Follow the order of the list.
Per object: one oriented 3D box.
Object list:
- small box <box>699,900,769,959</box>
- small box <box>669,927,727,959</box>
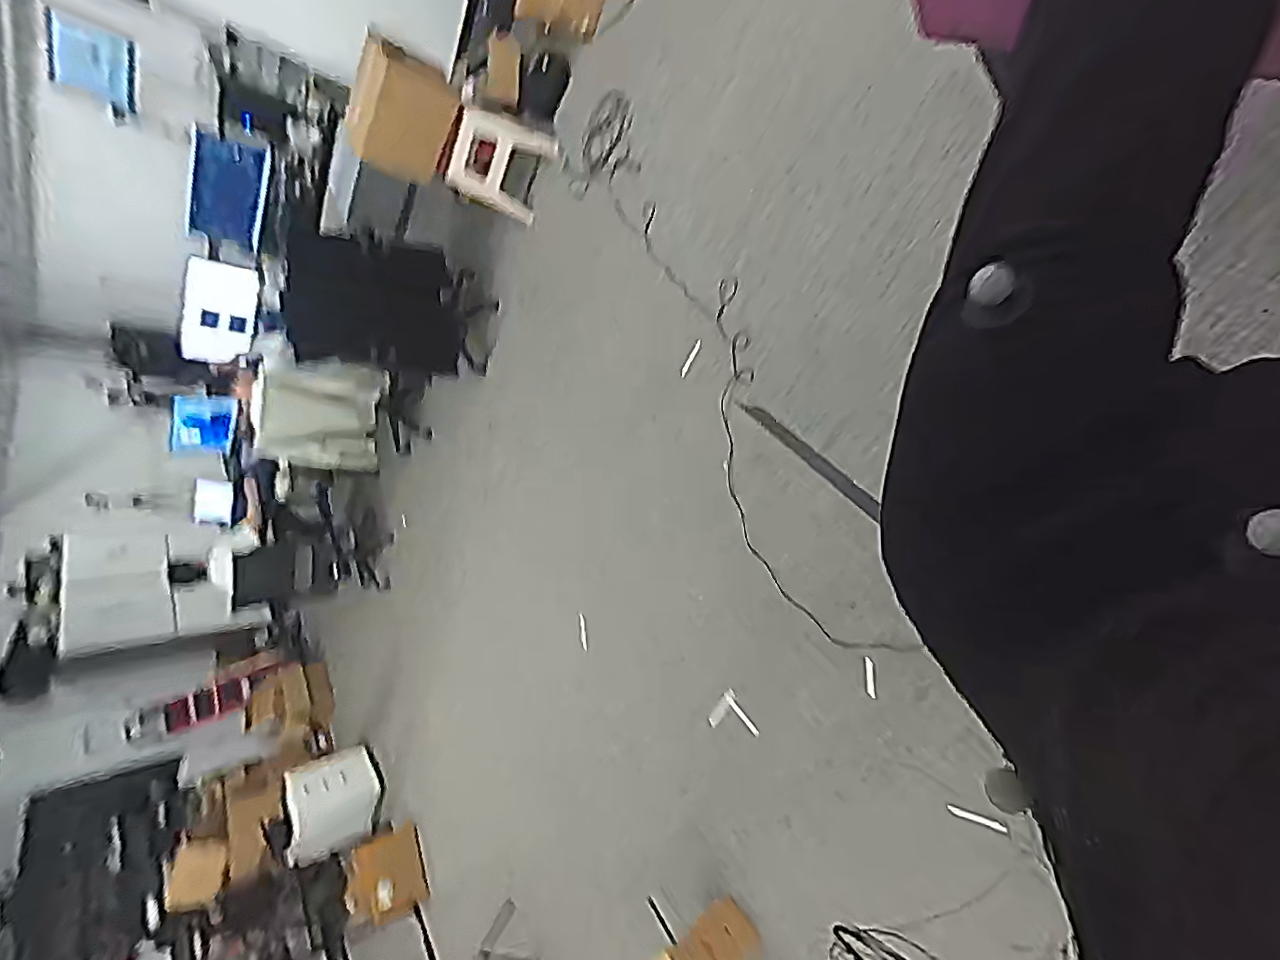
[{"bbox_3d":[0.301,1.585,1.840,0.179,0.176,0.168,38,117,37],"label":"small box"},{"bbox_3d":[0.179,1.597,1.733,0.168,0.176,0.179,43,121,37],"label":"small box"}]
